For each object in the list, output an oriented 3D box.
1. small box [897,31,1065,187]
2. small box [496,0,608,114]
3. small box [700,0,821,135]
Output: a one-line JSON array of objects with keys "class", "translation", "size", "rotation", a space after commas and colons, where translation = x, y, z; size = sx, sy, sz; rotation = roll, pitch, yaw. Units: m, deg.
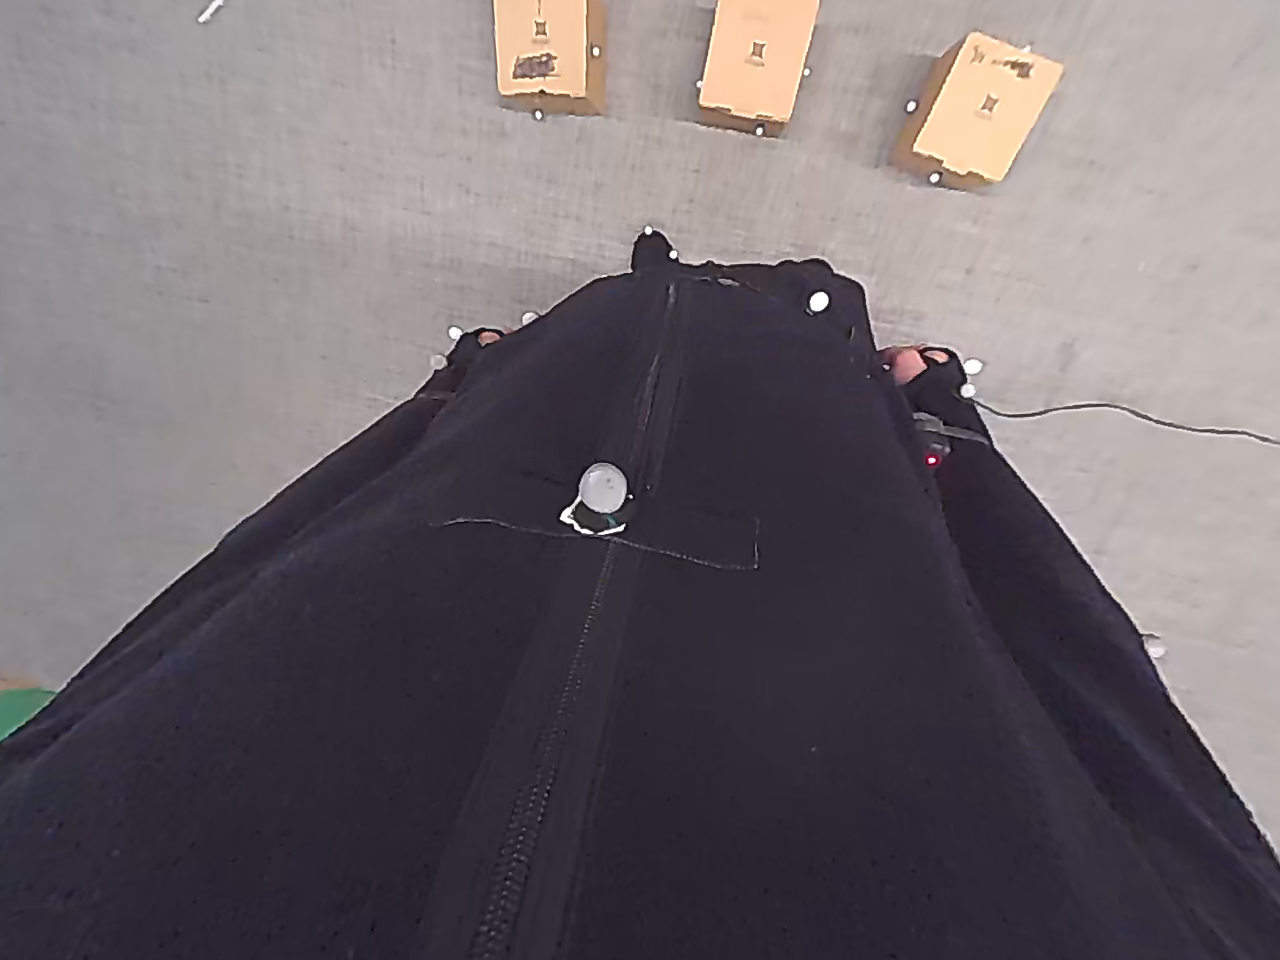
[{"class": "small box", "translation": [0.584, -0.643, 0.963], "size": [0.168, 0.176, 0.179], "rotation": [21, 117, 0]}, {"class": "small box", "translation": [-0.157, -0.802, 1.010], "size": [0.168, 0.176, 0.179], "rotation": [6, 114, 6]}, {"class": "small box", "translation": [0.209, -0.748, 0.978], "size": [0.168, 0.176, 0.179], "rotation": [12, 114, 2]}]
